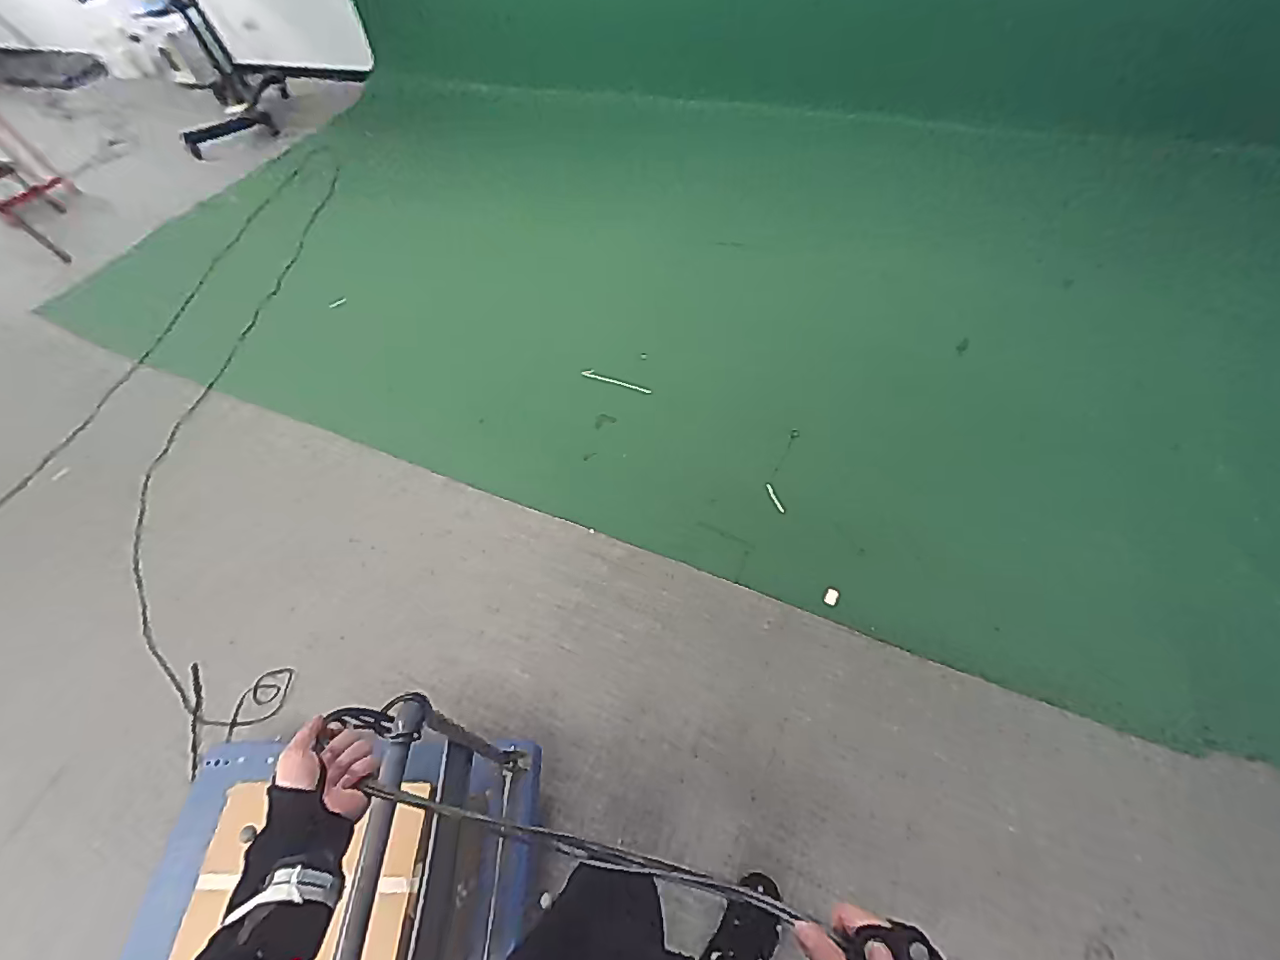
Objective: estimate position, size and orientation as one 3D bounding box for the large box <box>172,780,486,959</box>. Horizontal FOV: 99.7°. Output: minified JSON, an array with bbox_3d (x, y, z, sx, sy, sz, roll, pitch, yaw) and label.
[{"bbox_3d":[-0.562,0.783,1.061,0.408,0.320,0.320,-4,55,6],"label":"large box"}]
